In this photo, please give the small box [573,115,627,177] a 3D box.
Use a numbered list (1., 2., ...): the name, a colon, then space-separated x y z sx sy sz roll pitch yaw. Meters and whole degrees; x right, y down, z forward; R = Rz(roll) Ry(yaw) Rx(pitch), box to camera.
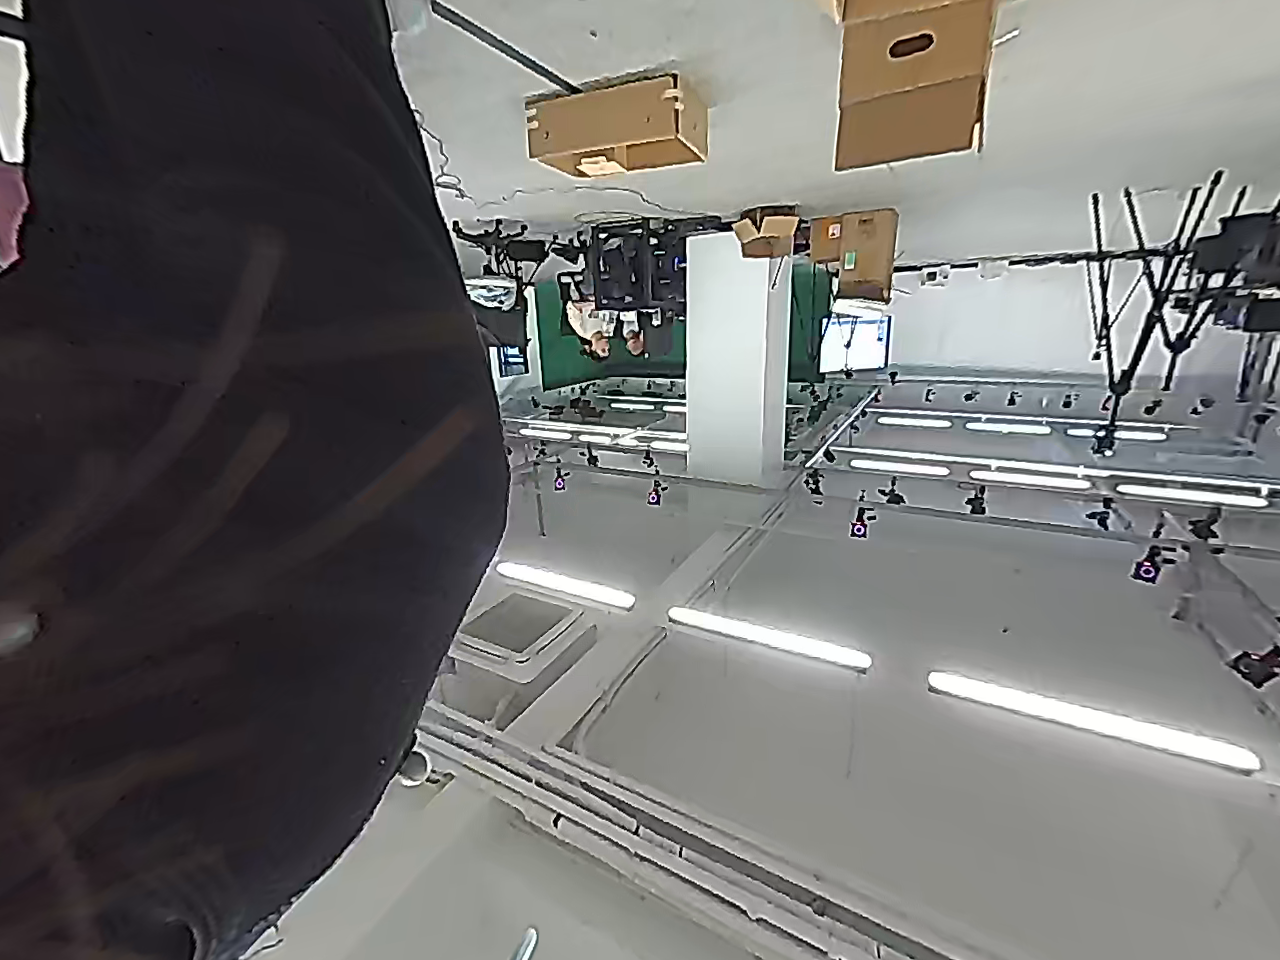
1. small box: -0.157 -1.312 2.120 0.168 0.176 0.179 2 -163 15
